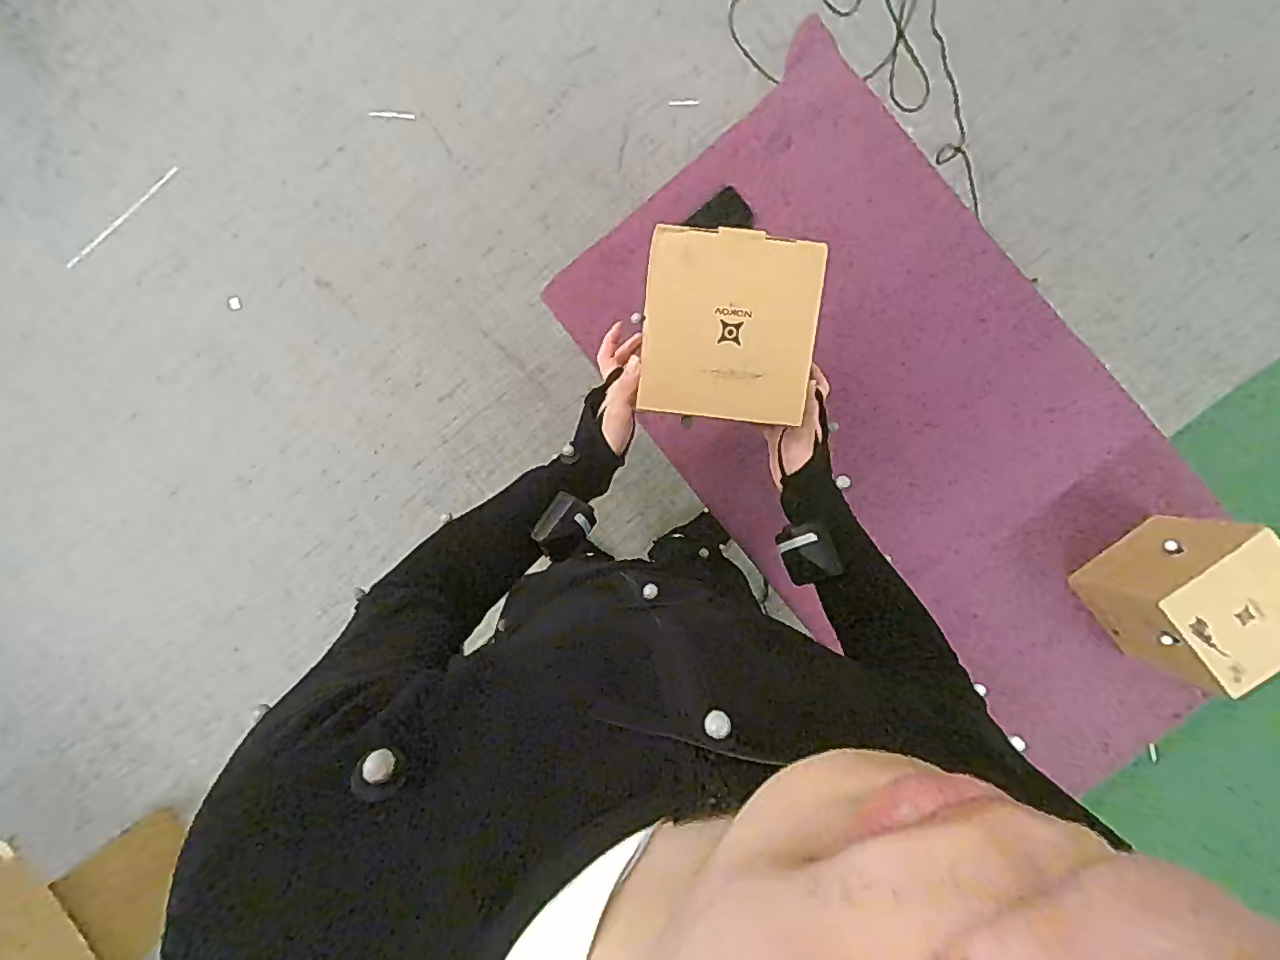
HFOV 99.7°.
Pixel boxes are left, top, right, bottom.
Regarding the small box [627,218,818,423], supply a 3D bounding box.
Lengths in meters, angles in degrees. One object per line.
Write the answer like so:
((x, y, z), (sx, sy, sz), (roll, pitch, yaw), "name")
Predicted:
((0.077, -0.161, 0.591), (0.168, 0.176, 0.179), (6, 99, 0), "small box")

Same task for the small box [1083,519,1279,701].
((0.810, 0.172, 0.778), (0.179, 0.176, 0.168), (-38, 88, 3), "small box")
